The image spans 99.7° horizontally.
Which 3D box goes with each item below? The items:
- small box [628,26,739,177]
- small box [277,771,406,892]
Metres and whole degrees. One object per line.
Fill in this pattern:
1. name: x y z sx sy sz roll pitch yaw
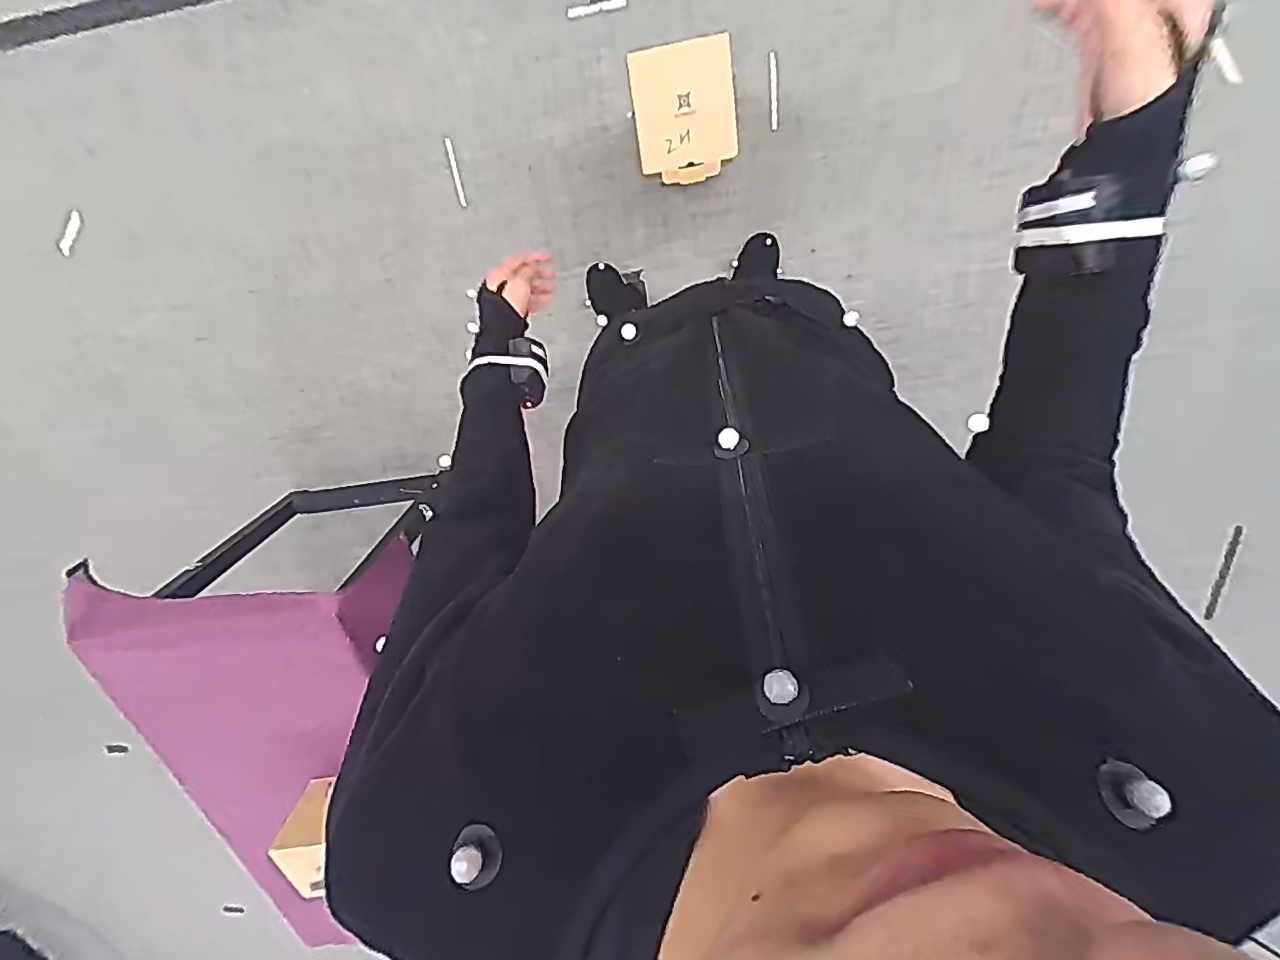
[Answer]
1. small box: 0.073 -0.650 0.950 0.168 0.176 0.179 -8 116 5
2. small box: -0.677 0.811 1.251 0.168 0.176 0.179 -11 115 8
